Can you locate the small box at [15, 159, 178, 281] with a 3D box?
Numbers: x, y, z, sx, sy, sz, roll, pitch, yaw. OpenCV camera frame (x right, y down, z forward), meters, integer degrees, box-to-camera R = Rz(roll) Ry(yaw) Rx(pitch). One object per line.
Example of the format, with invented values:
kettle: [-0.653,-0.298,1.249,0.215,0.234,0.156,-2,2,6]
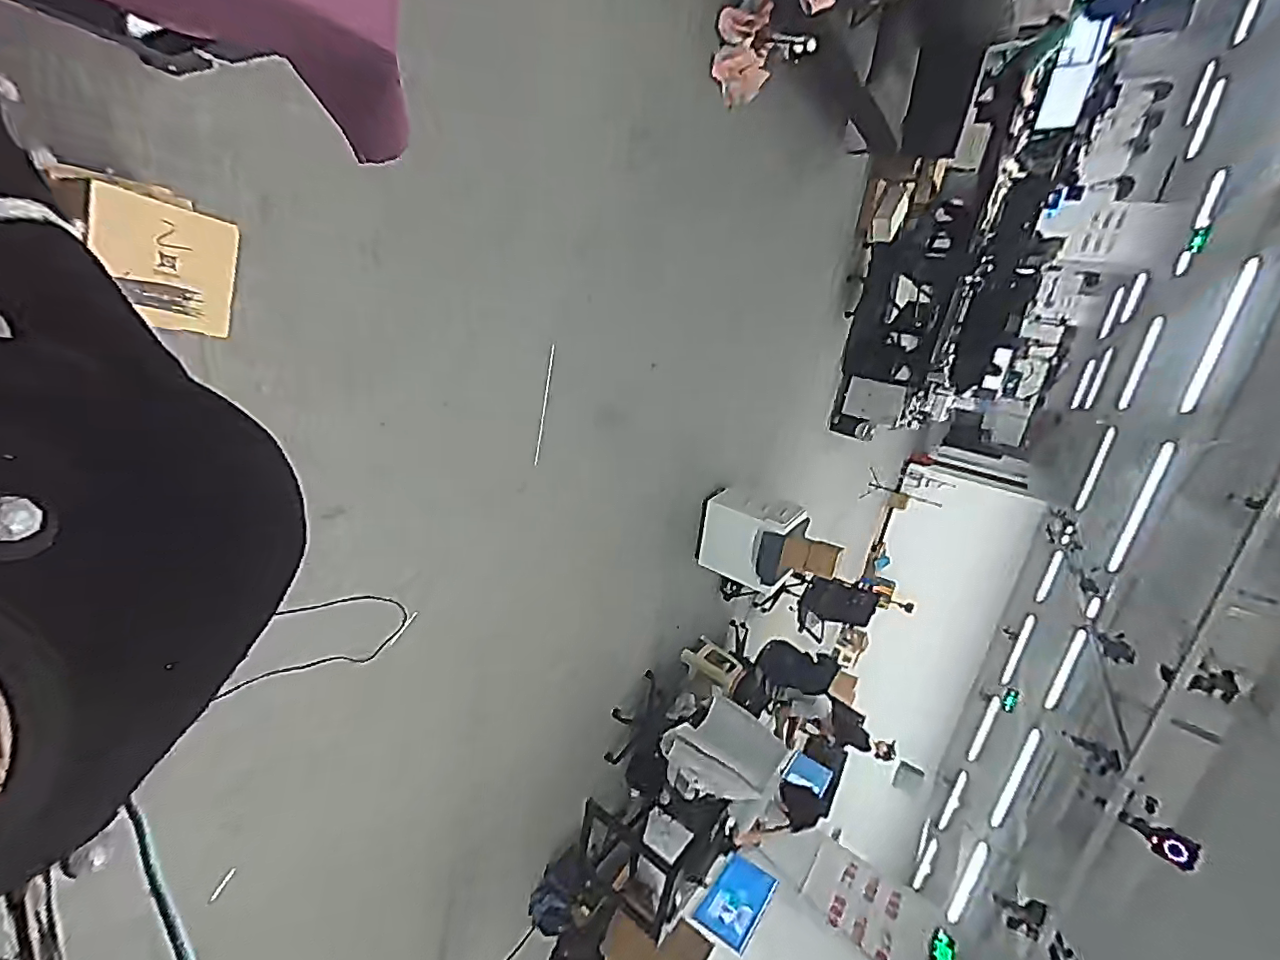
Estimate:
small box: [-0.989,-0.472,0.989,0.179,0.176,0.168,-13,118,-53]
